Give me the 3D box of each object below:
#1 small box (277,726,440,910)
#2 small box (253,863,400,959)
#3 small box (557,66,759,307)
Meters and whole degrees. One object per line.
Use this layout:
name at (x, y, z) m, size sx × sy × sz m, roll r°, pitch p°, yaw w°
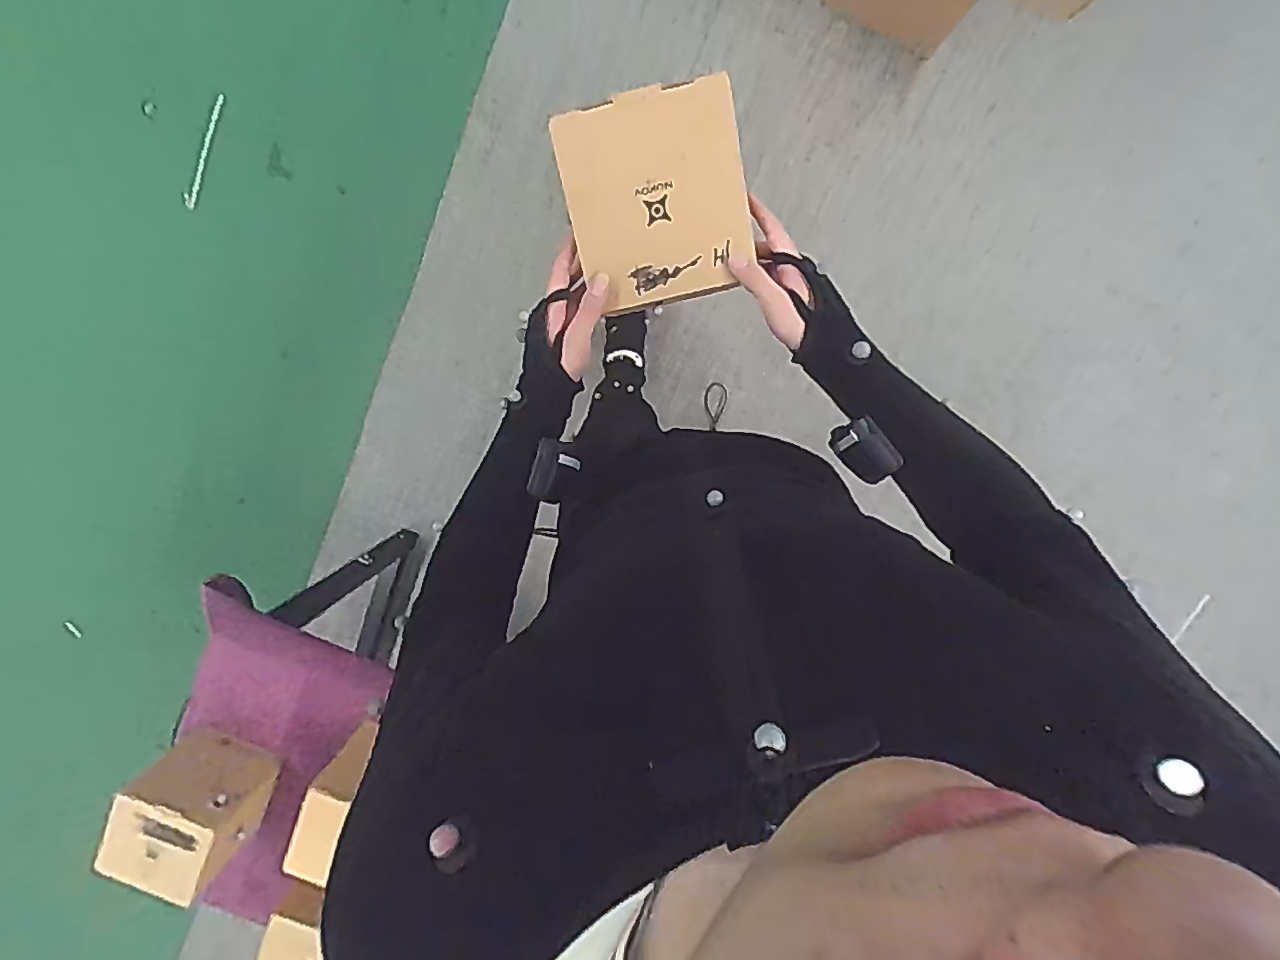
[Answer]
small box at (-0.468, 0.567, 0.925) m, size 0.168 × 0.176 × 0.179 m, roll 23°, pitch 101°, yaw -2°
small box at (-0.563, 0.807, 0.977) m, size 0.168 × 0.176 × 0.179 m, roll 22°, pitch 100°, yaw -3°
small box at (0.020, -0.288, 0.574) m, size 0.168 × 0.176 × 0.179 m, roll -10°, pitch 107°, yaw 4°
